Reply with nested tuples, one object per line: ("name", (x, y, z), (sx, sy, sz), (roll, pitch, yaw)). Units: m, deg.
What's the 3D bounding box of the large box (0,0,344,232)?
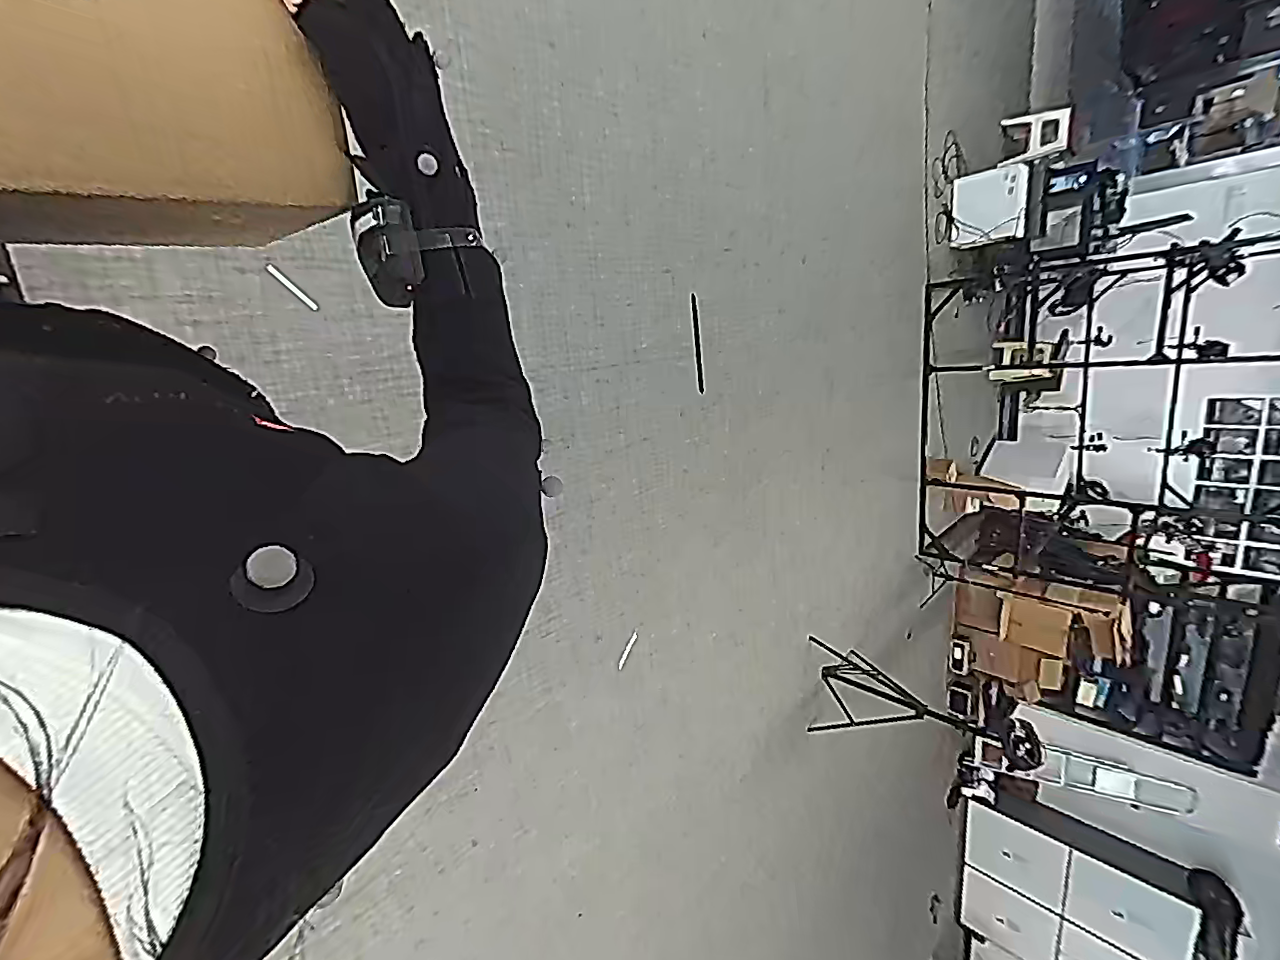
("large box", (-0.467, -0.324, 0.311), (0.408, 0.320, 0.320), (-22, 118, -41))
